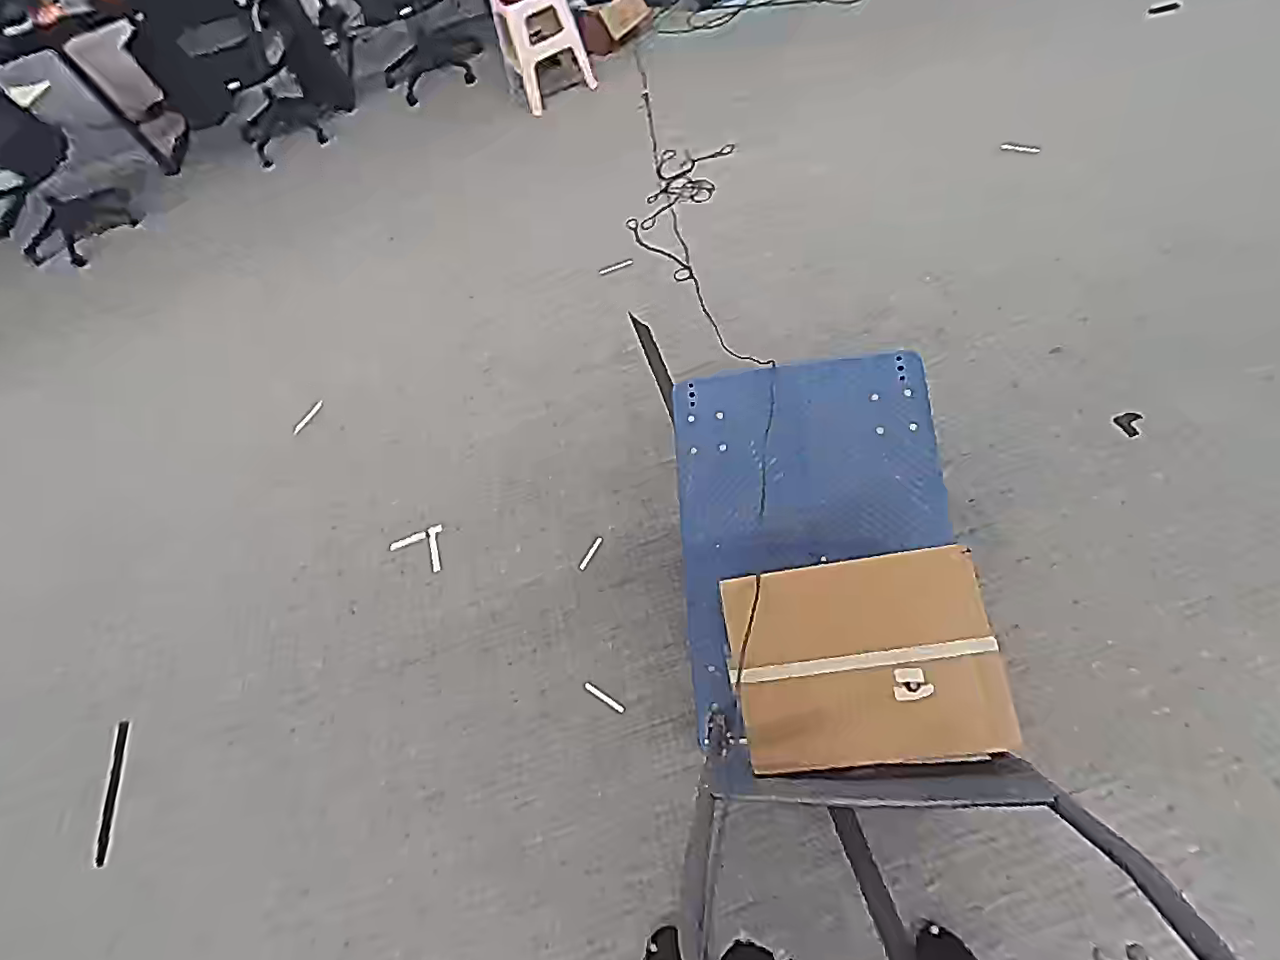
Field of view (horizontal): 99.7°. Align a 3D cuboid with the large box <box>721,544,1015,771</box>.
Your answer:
[{"bbox_3d":[0.385,0.320,1.029,0.408,0.320,0.320,-11,78,9],"label":"large box"}]
